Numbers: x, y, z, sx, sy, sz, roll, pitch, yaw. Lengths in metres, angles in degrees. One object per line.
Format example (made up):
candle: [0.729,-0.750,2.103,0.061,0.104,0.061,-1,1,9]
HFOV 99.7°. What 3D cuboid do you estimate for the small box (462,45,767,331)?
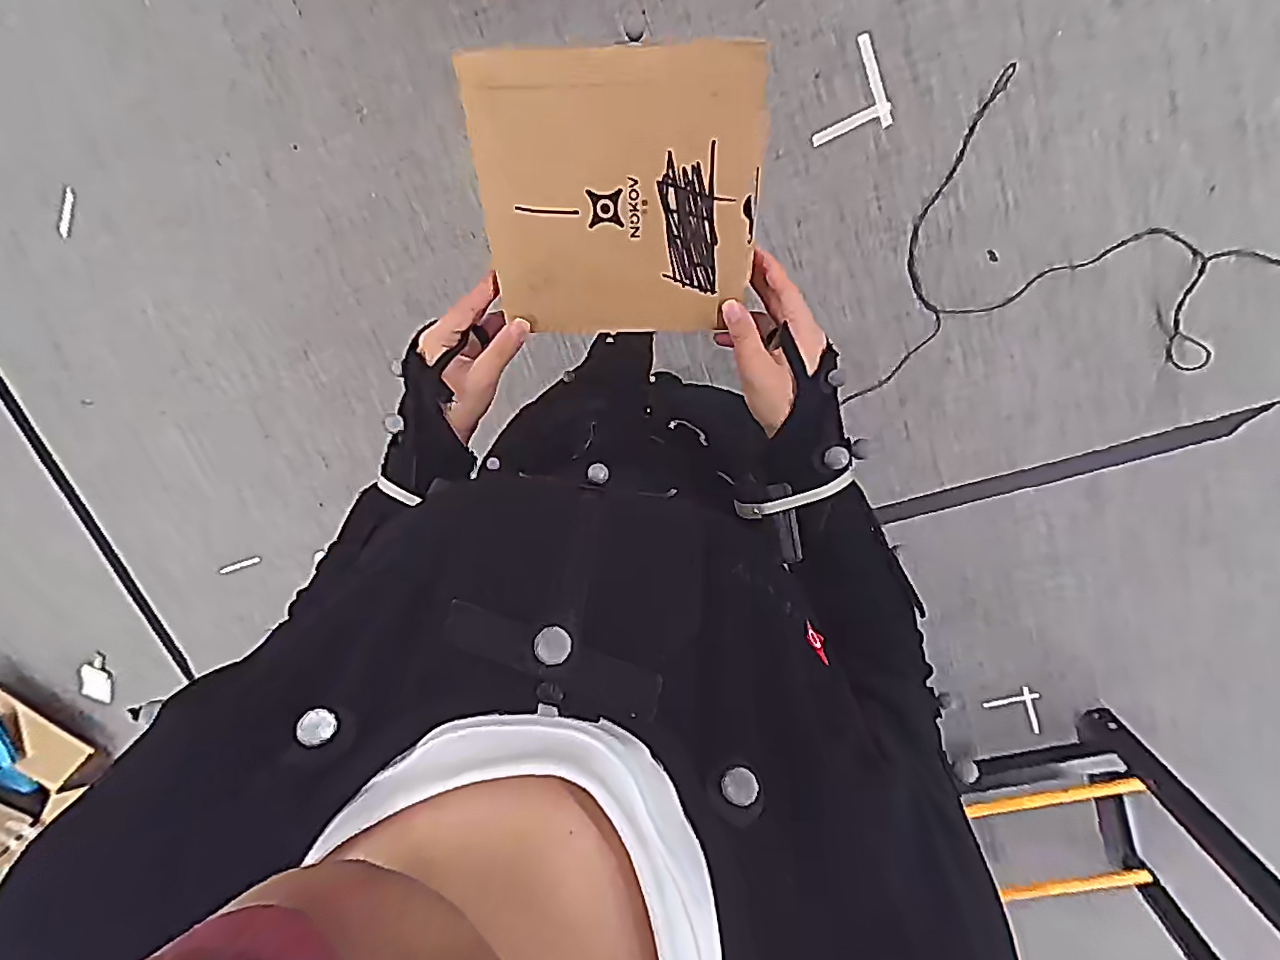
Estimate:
small box: [-0.012,-0.226,0.414,0.179,0.176,0.168,0,128,3]
